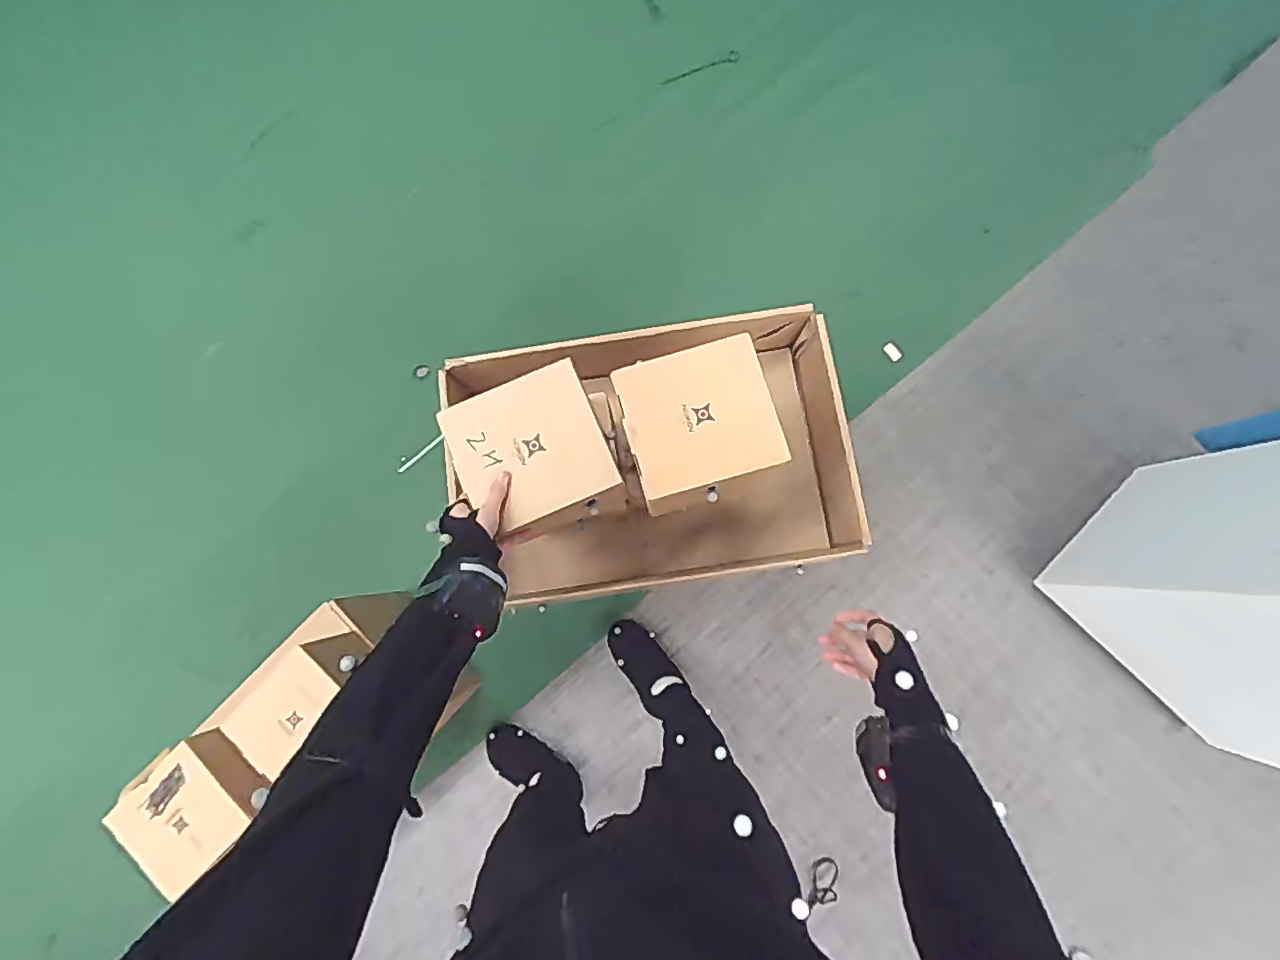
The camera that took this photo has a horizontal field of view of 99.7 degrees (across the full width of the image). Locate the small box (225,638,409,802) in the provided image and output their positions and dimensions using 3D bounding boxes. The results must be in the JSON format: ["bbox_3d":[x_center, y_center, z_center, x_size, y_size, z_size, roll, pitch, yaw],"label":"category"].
[{"bbox_3d":[-0.541,0.398,0.933,0.168,0.176,0.179,42,84,7],"label":"small box"}]

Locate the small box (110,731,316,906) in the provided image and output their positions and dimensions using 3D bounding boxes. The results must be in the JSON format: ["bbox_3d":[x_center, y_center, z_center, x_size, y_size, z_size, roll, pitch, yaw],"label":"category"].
[{"bbox_3d":[-0.705,0.543,0.913,0.179,0.176,0.168,43,84,8],"label":"small box"}]
